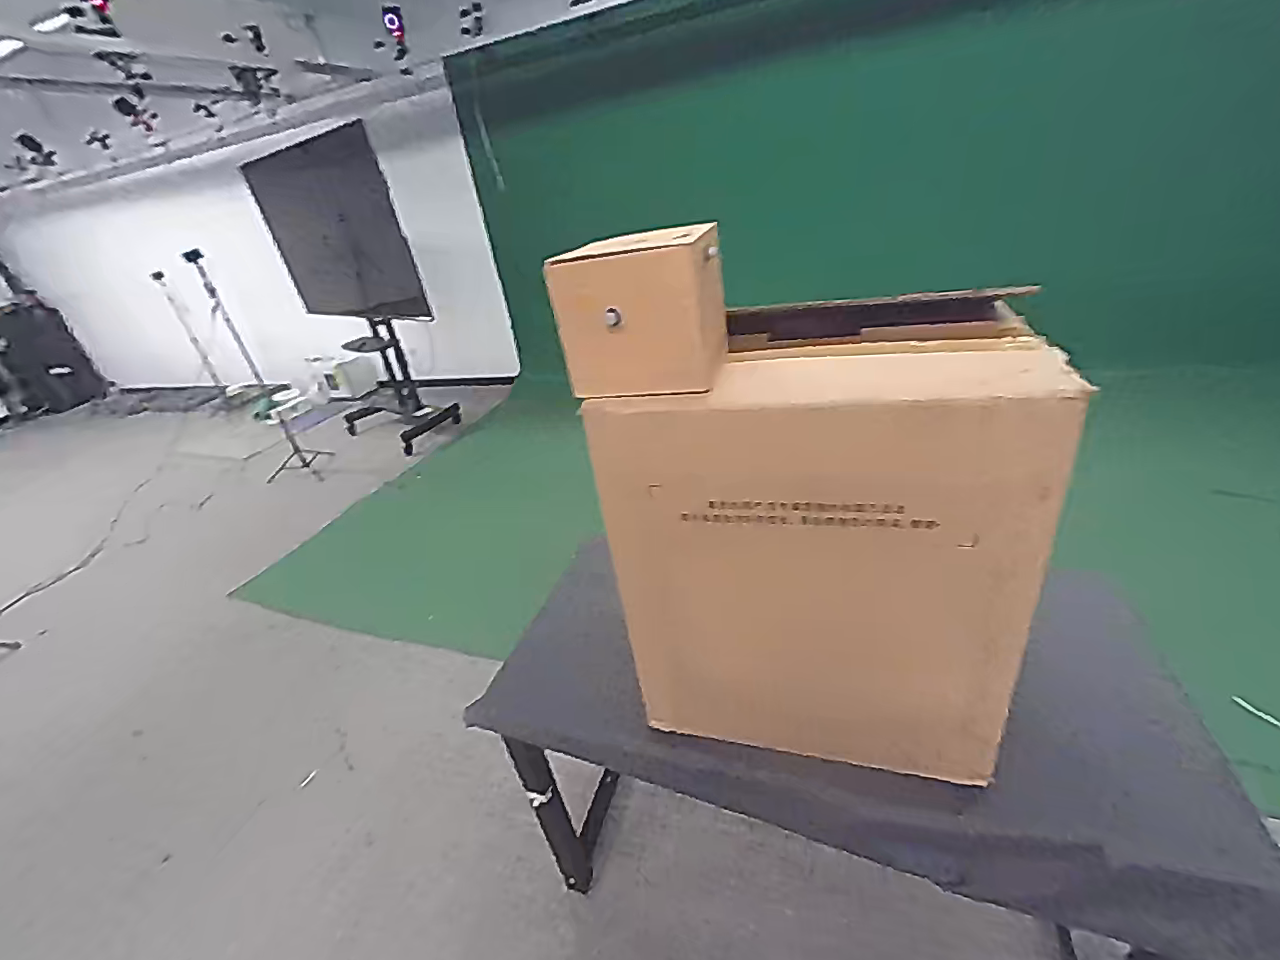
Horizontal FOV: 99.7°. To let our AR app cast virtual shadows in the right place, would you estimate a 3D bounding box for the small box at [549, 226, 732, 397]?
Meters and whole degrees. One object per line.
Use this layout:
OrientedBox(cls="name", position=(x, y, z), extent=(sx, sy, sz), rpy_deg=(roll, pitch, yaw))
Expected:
OrientedBox(cls="small box", position=(0.013, -0.213, 0.694), extent=(0.179, 0.176, 0.168), rpy_deg=(-1, 31, 19))
